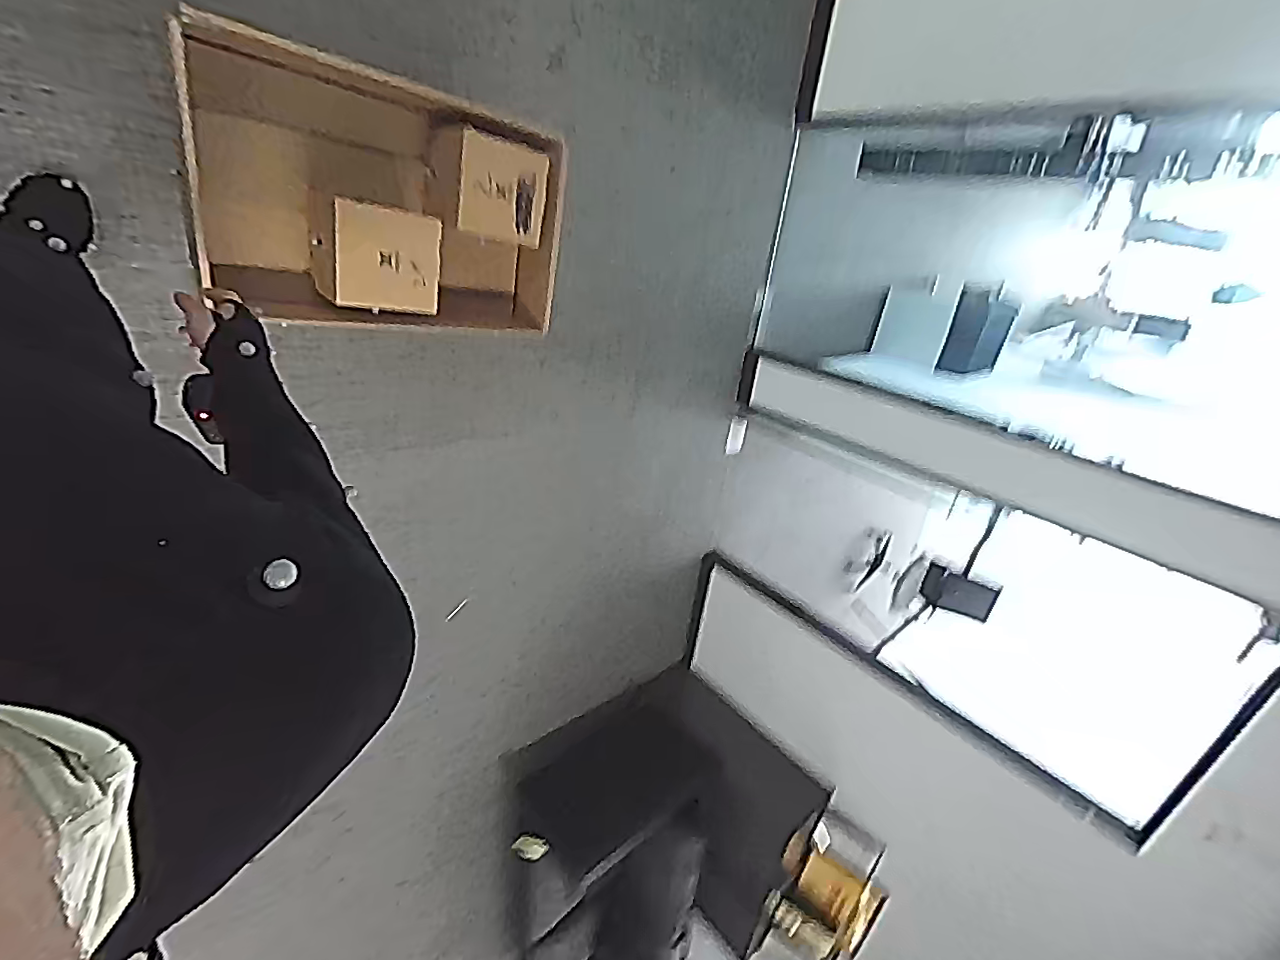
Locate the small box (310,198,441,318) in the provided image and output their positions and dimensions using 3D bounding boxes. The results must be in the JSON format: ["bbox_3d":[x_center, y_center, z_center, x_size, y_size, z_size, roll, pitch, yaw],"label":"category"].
[{"bbox_3d":[-0.486,-0.403,0.983,0.179,0.176,0.168,-8,120,-42],"label":"small box"}]
